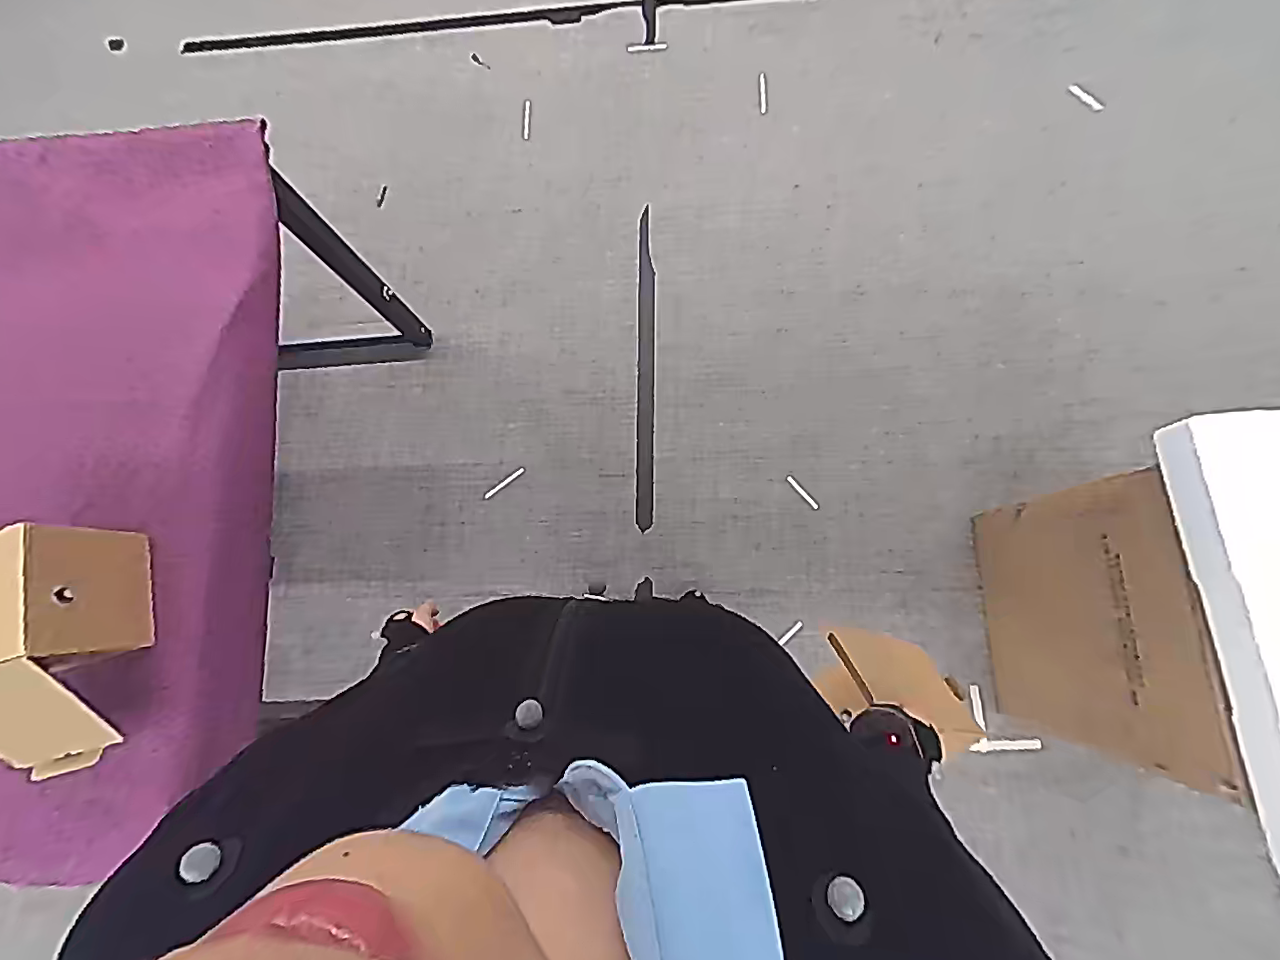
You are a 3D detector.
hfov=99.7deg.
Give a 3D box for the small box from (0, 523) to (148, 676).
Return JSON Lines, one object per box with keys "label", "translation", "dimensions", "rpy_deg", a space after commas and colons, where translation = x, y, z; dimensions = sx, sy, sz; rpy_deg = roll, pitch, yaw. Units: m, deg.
{"label": "small box", "translation": [-0.837, 0.171, 0.752], "dimensions": [0.168, 0.176, 0.179], "rpy_deg": [-15, 77, 2]}
